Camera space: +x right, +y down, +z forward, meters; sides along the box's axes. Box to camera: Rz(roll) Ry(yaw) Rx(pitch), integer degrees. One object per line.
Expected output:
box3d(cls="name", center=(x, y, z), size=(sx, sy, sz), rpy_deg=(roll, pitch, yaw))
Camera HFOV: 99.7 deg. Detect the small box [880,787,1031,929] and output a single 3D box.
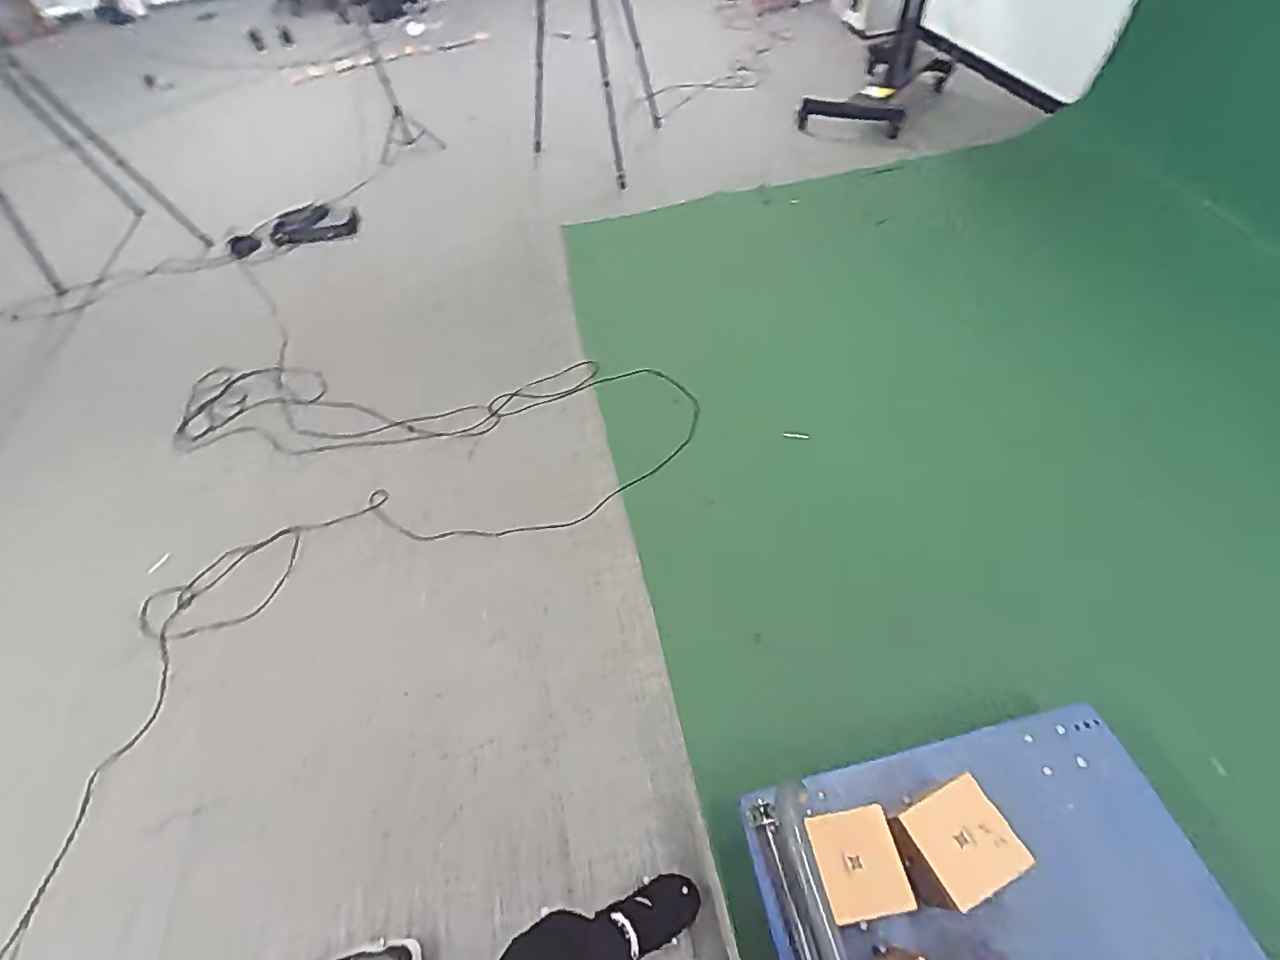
box3d(cls="small box", center=(0.597, 0.736, 1.057), size=(0.179, 0.176, 0.168), rpy_deg=(-23, 56, -11))
